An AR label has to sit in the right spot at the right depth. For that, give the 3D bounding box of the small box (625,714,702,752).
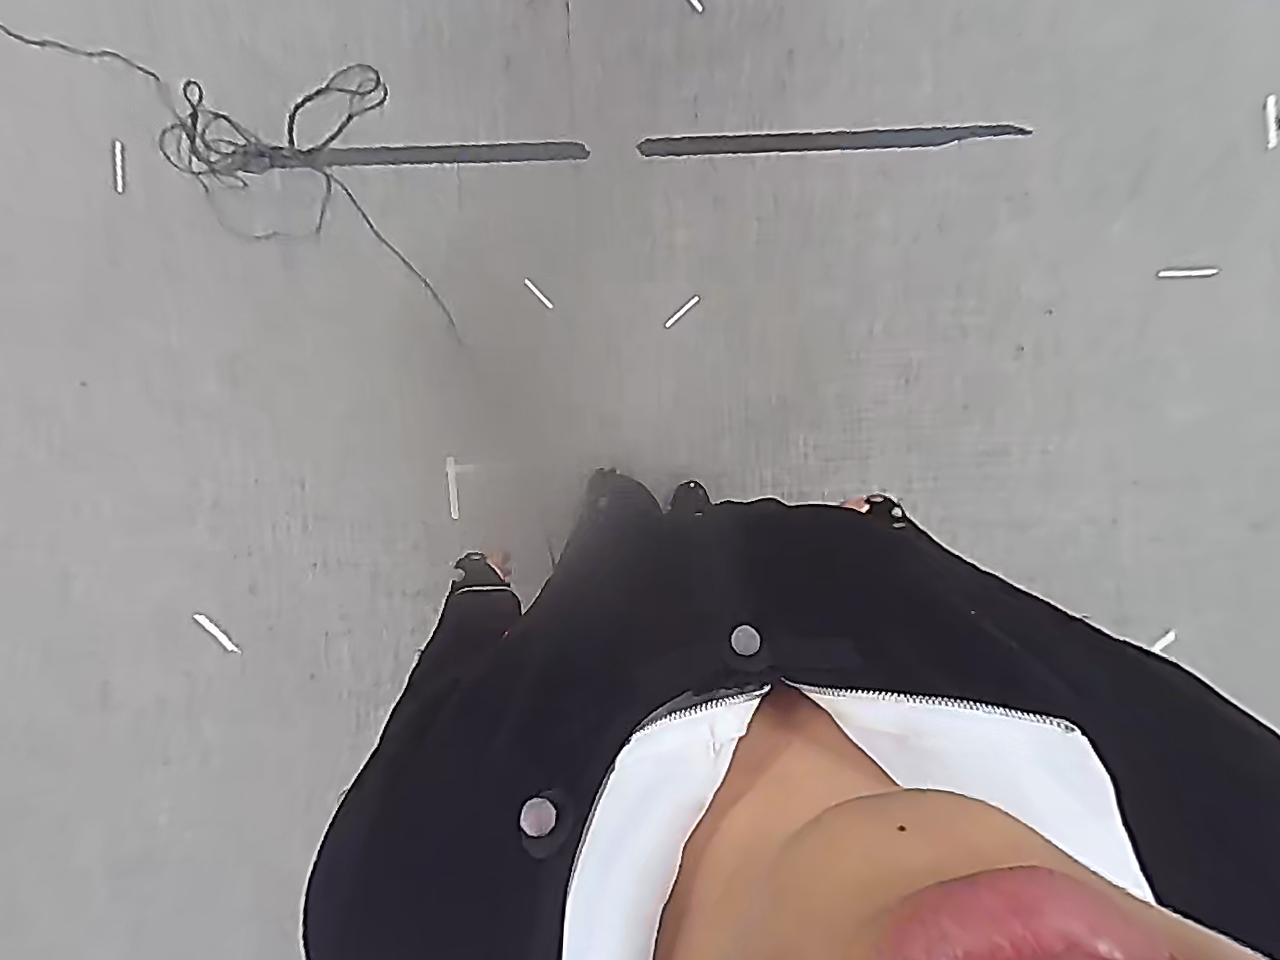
[{"bbox_3d":[0.057,0.638,1.233,0.168,0.176,0.179,-4,91,1],"label":"small box"}]

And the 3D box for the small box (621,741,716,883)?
[{"bbox_3d":[0.055,0.647,1.069,0.168,0.176,0.179,-5,91,1],"label":"small box"}]
